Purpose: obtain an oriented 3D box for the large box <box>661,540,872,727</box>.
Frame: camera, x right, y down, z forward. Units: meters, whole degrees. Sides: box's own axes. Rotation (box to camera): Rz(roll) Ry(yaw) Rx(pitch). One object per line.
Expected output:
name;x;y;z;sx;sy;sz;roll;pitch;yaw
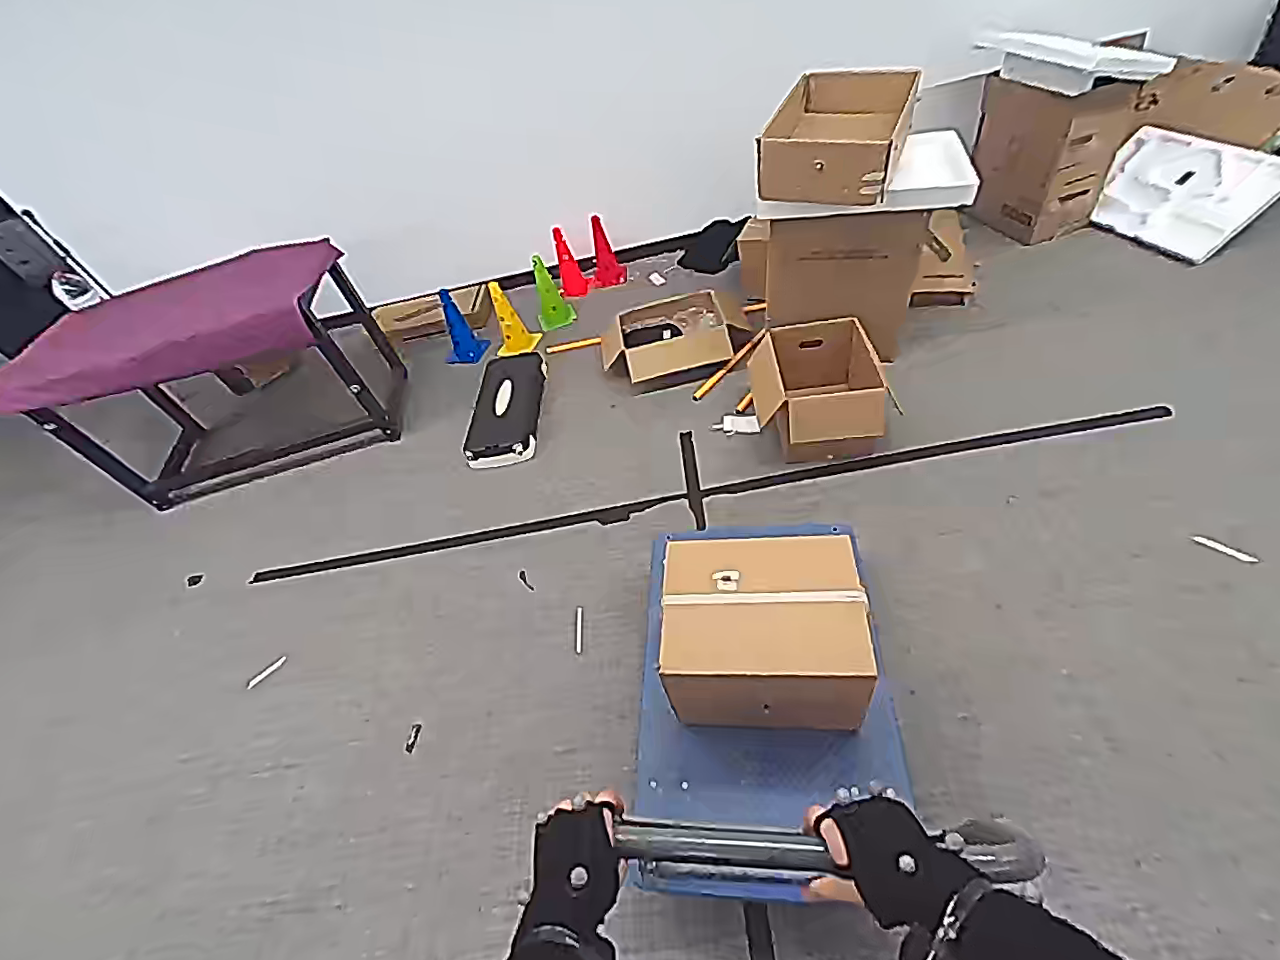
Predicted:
large box;0.277;0.361;1.239;0.408;0.320;0.320;-5;47;12
